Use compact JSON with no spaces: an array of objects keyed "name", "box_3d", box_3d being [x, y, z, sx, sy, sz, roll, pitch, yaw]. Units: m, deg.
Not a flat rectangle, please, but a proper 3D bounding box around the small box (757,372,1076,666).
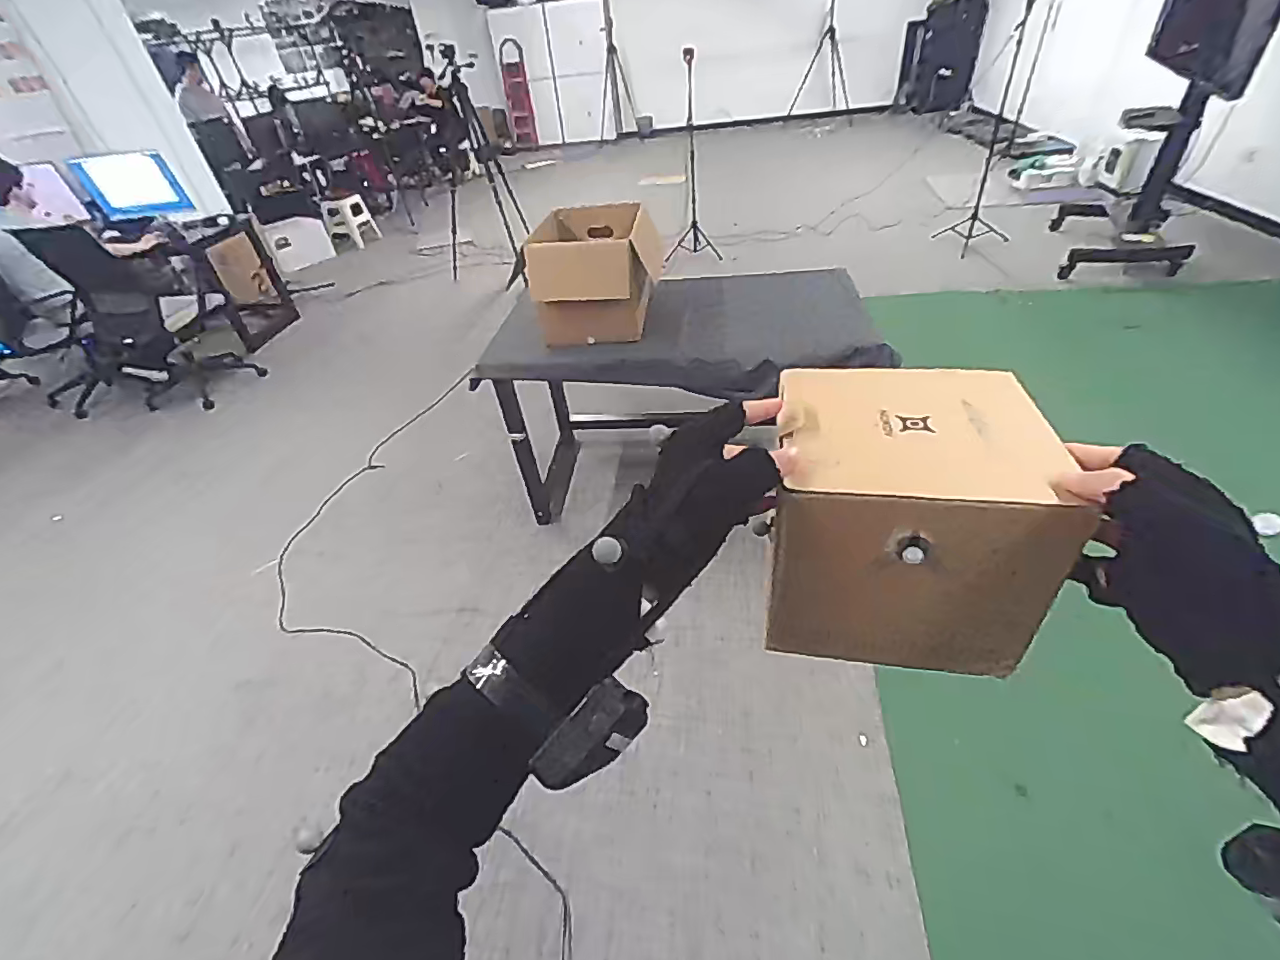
[{"name":"small box","box_3d":[0.188,0.027,0.433,0.179,0.176,0.168,4,38,11]}]
